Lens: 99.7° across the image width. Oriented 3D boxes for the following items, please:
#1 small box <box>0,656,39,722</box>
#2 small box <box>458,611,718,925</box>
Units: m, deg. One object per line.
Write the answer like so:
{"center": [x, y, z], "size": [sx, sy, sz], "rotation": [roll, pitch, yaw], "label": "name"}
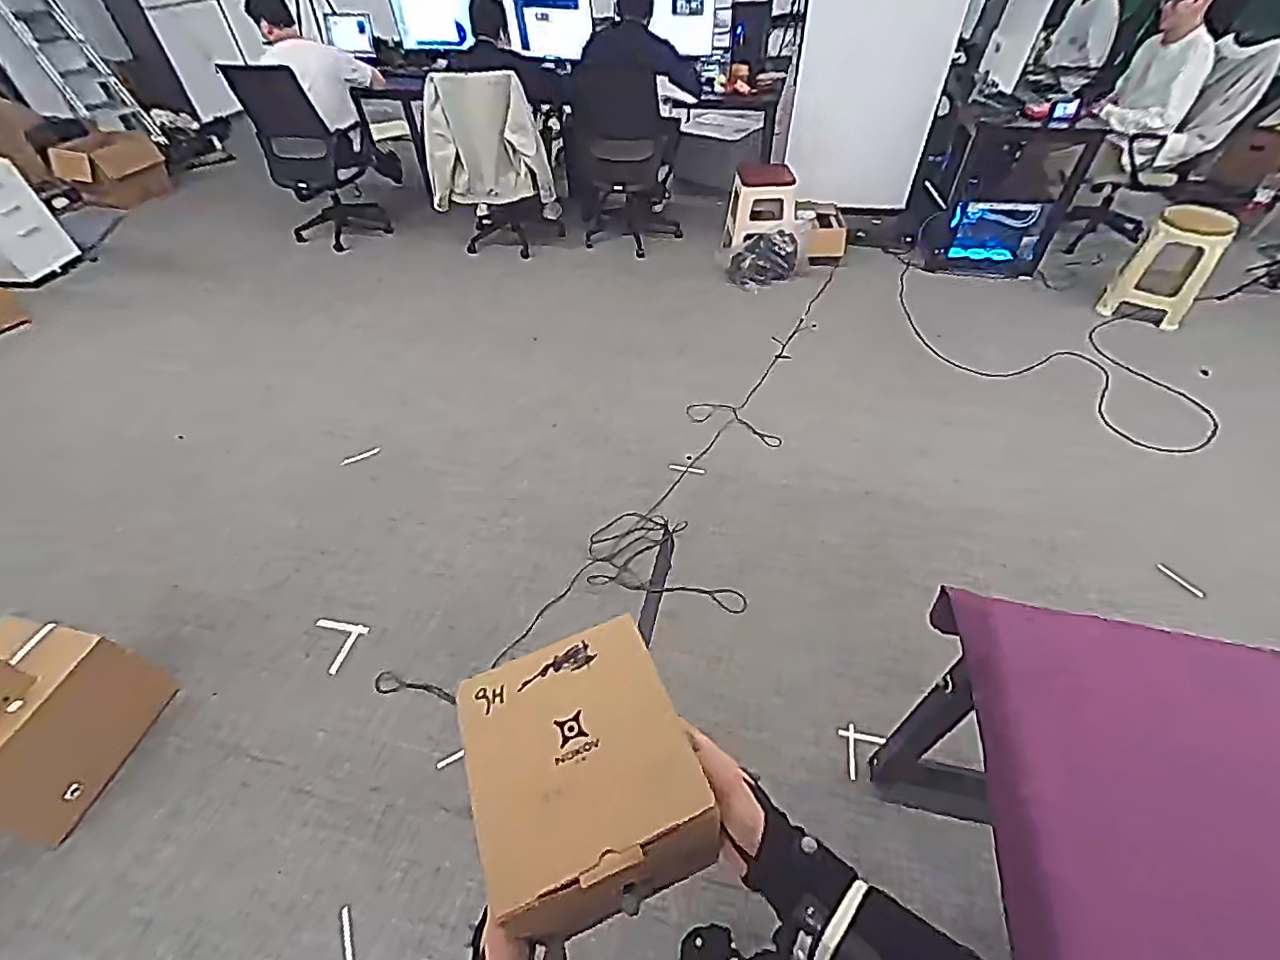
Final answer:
{"center": [-1.501, 0.457, 1.166], "size": [0.179, 0.176, 0.168], "rotation": [7, 48, 8], "label": "small box"}
{"center": [-0.041, 0.255, 0.477], "size": [0.168, 0.176, 0.179], "rotation": [-20, 47, -12], "label": "small box"}
